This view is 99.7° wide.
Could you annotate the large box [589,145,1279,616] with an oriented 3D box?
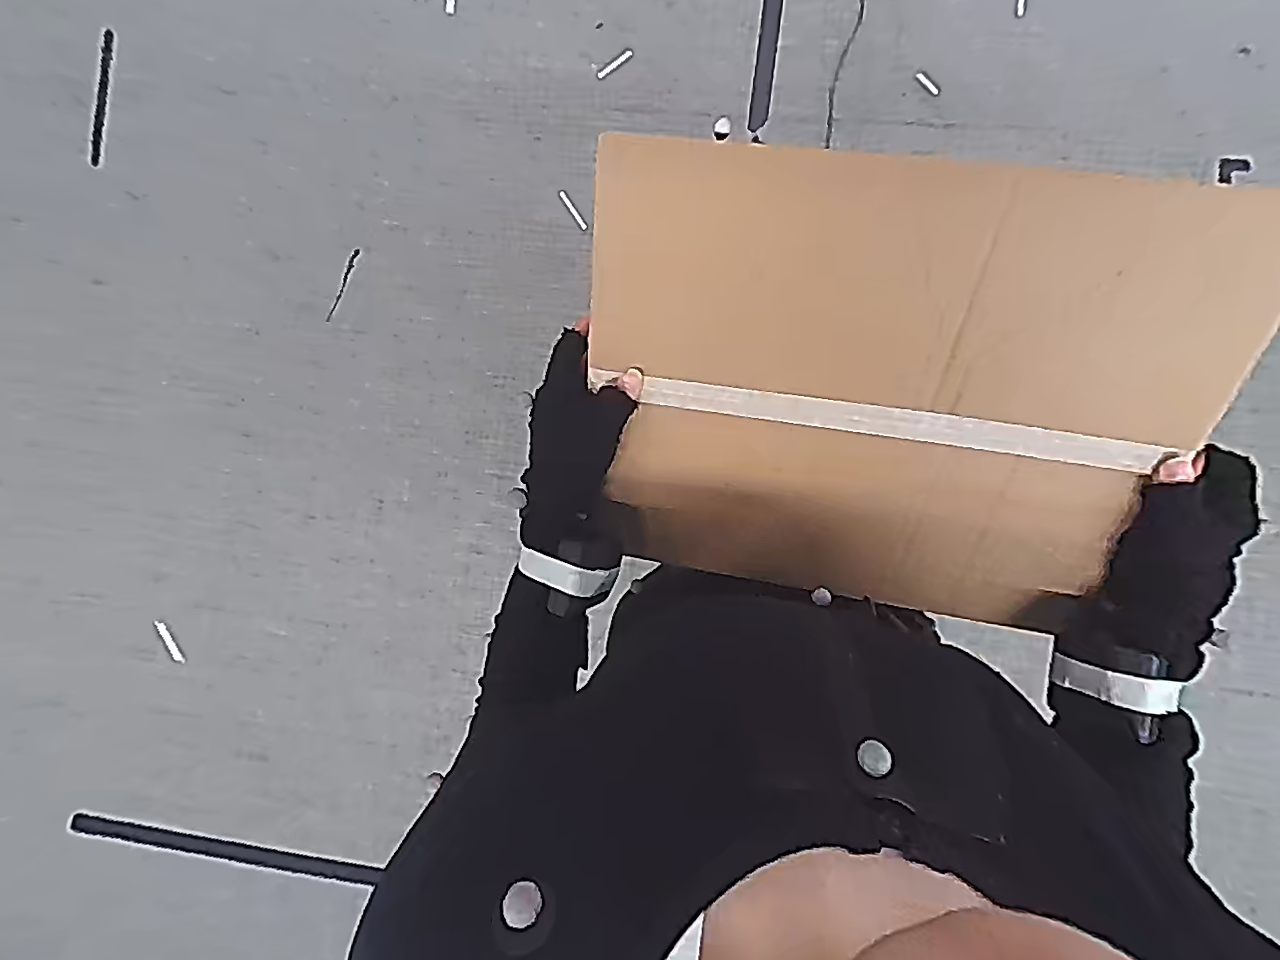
[{"bbox_3d":[0.182,-0.119,0.521,0.408,0.320,0.320,9,120,7],"label":"large box"}]
